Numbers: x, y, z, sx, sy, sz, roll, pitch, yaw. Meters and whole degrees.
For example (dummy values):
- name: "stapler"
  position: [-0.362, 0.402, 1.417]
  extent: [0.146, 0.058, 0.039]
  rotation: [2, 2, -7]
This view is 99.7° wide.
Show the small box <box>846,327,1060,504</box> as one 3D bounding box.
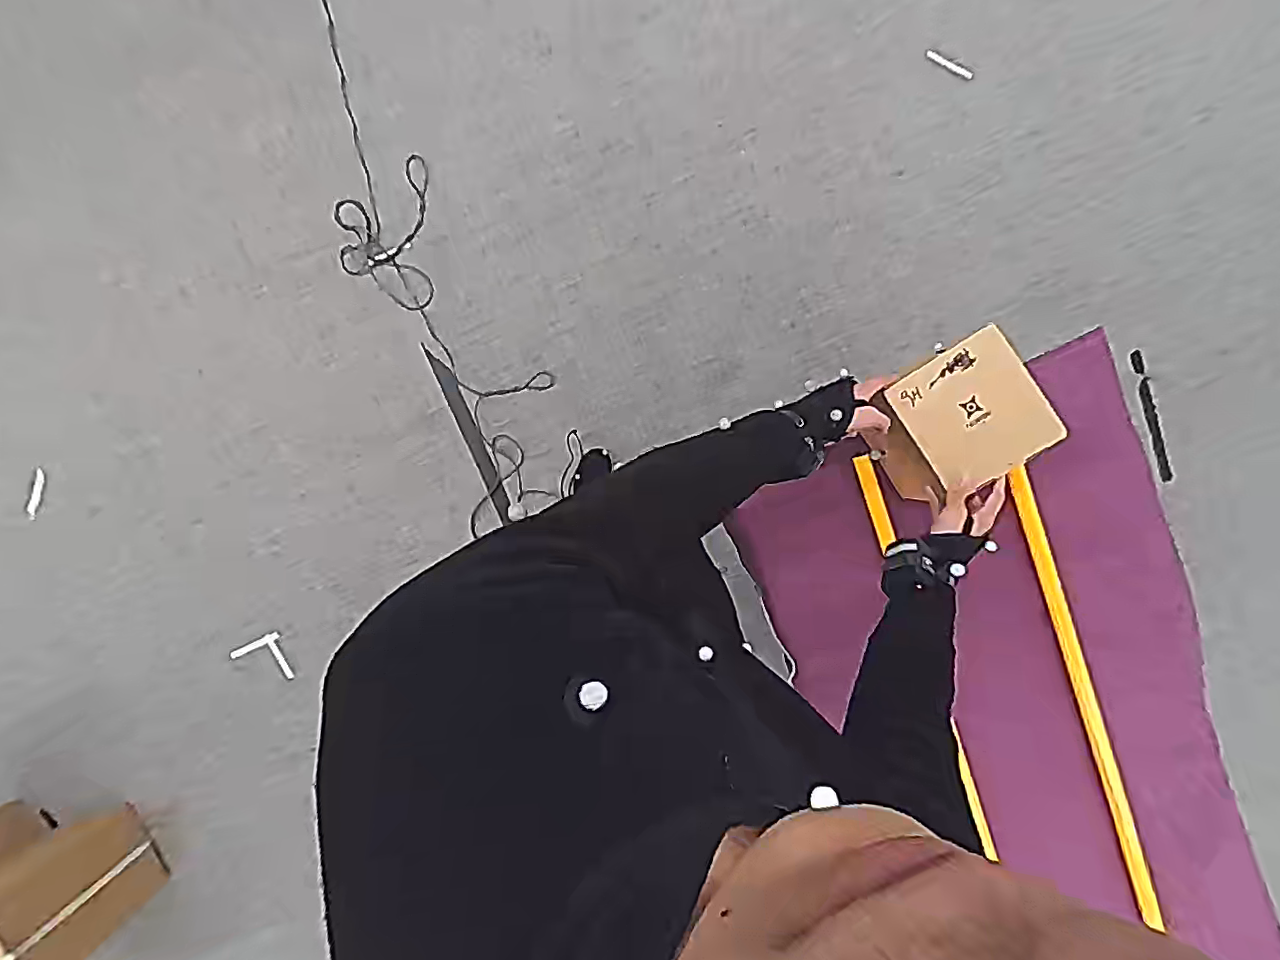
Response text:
- name: "small box"
  position: [0.429, -0.087, 0.774]
  extent: [0.168, 0.176, 0.179]
  rotation: [-32, 90, 4]
